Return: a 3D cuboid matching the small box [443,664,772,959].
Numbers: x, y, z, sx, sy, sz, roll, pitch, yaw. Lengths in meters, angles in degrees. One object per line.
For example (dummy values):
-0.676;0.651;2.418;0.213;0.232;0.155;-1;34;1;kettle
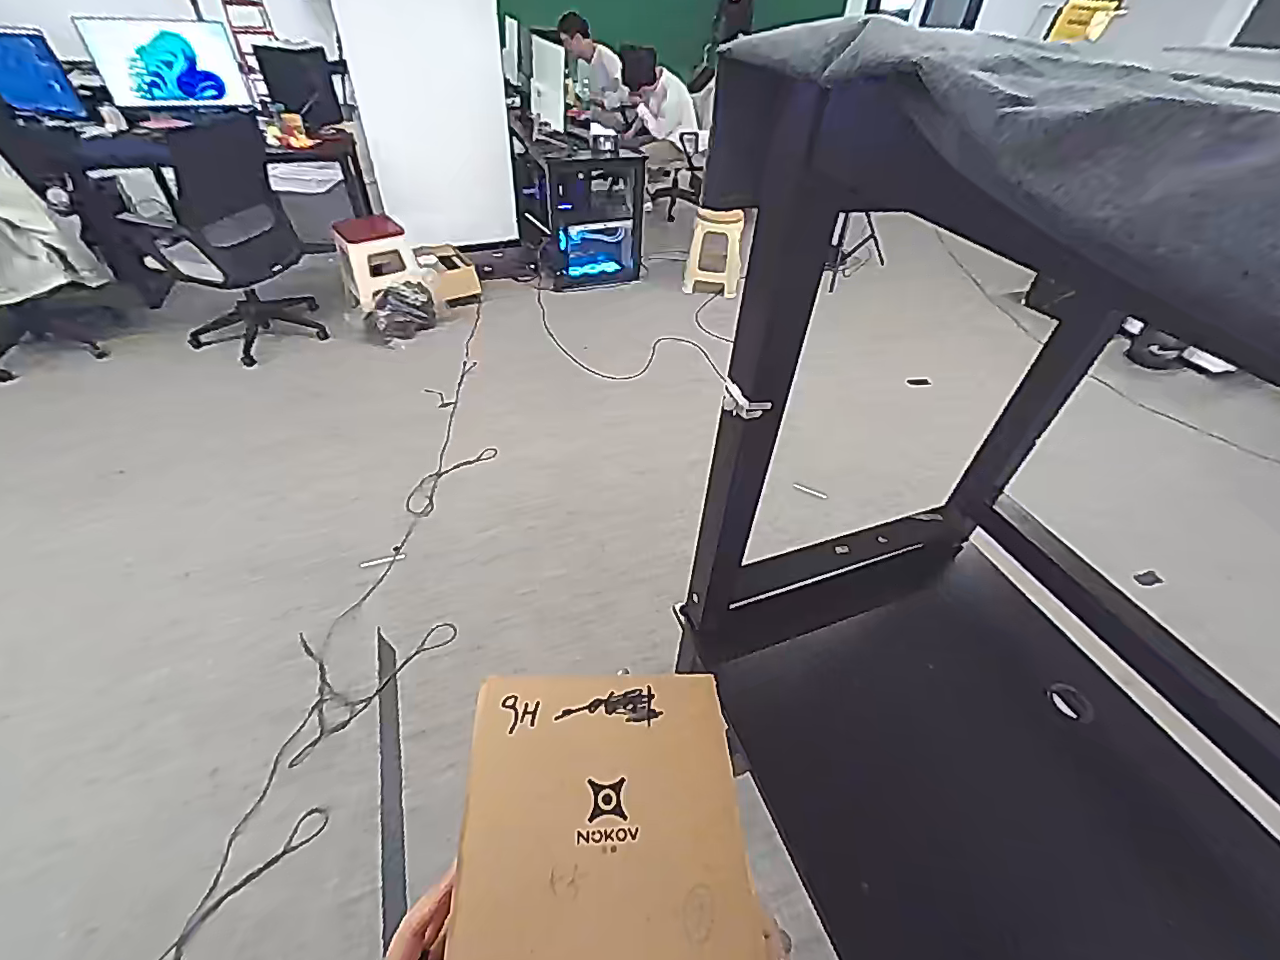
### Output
-0.030;0.244;0.365;0.168;0.176;0.179;4;46;-11;small box
